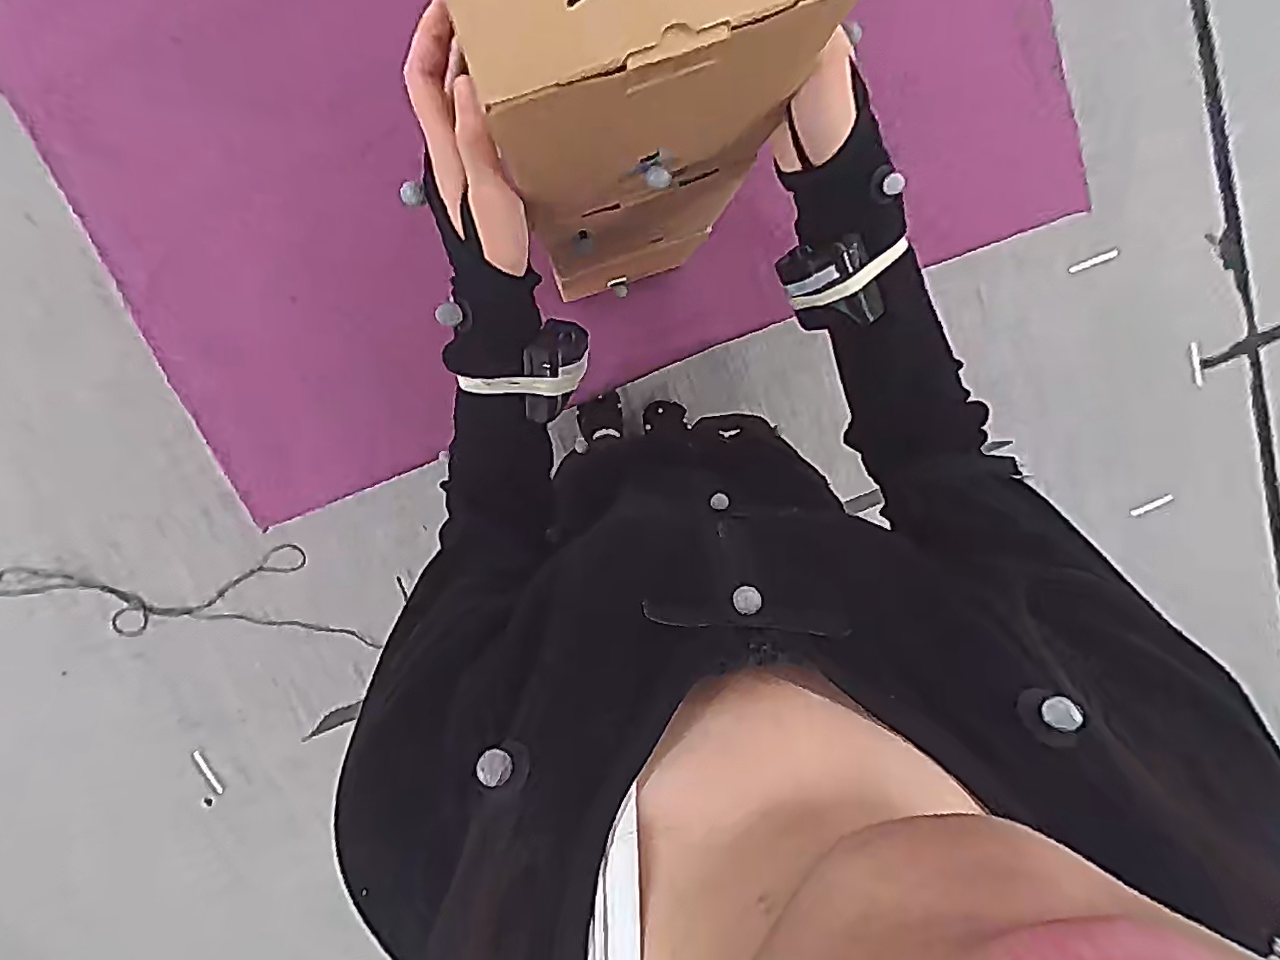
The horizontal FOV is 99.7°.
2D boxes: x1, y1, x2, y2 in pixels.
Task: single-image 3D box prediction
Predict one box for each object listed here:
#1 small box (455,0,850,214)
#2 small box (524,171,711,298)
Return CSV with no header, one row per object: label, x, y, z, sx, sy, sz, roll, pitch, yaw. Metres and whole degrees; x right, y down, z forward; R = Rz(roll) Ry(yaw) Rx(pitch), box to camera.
small box,-0.016,-0.271,0.278,0.168,0.176,0.179,-19,100,-1
small box,-0.040,-0.323,0.604,0.168,0.176,0.179,-20,103,-2
